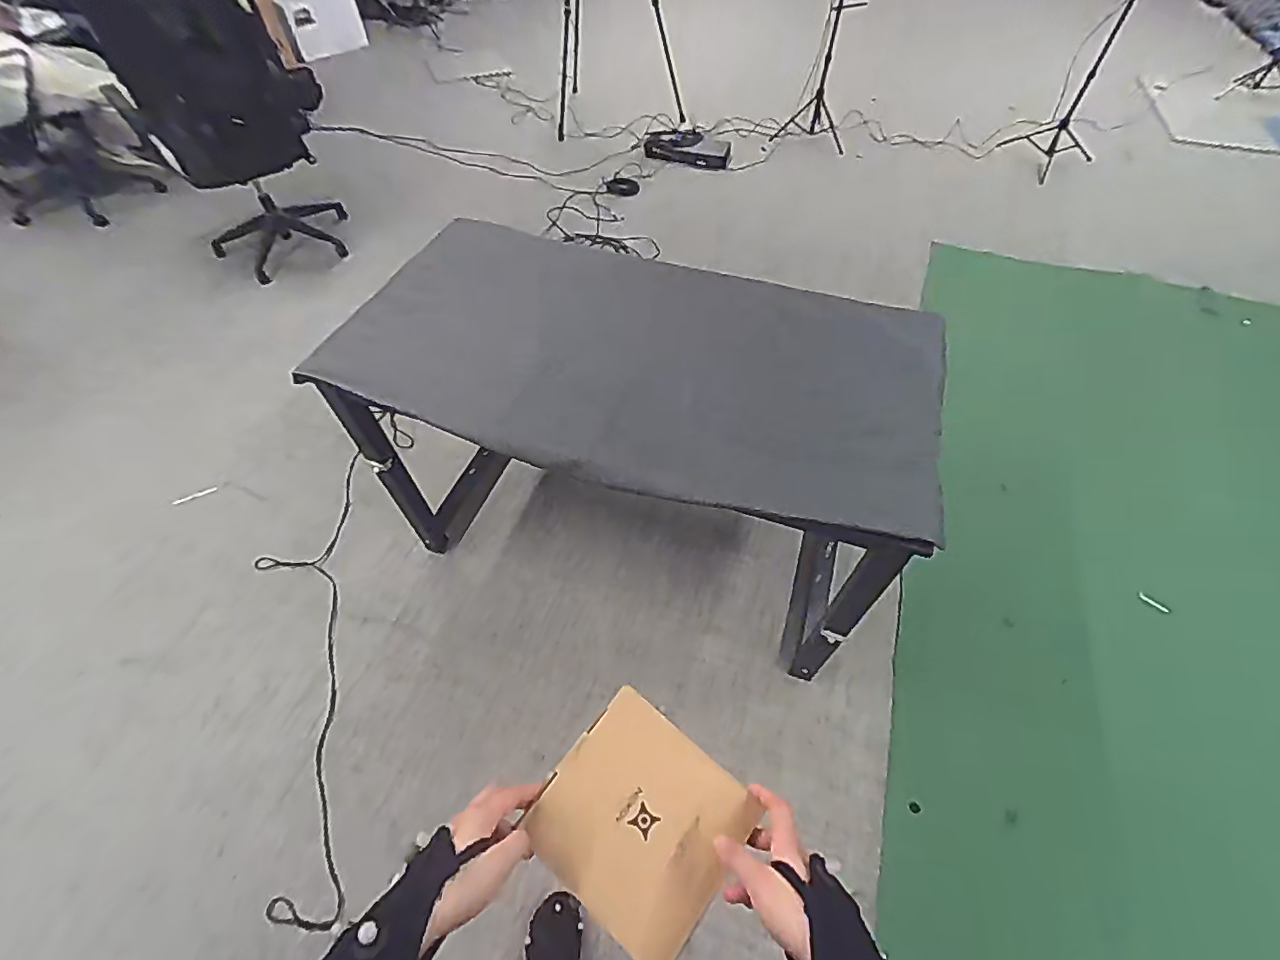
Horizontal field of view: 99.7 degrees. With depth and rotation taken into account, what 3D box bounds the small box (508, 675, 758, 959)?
[{"bbox_3d":[-0.007,0.339,0.570,0.179,0.176,0.168,36,68,17],"label":"small box"}]
